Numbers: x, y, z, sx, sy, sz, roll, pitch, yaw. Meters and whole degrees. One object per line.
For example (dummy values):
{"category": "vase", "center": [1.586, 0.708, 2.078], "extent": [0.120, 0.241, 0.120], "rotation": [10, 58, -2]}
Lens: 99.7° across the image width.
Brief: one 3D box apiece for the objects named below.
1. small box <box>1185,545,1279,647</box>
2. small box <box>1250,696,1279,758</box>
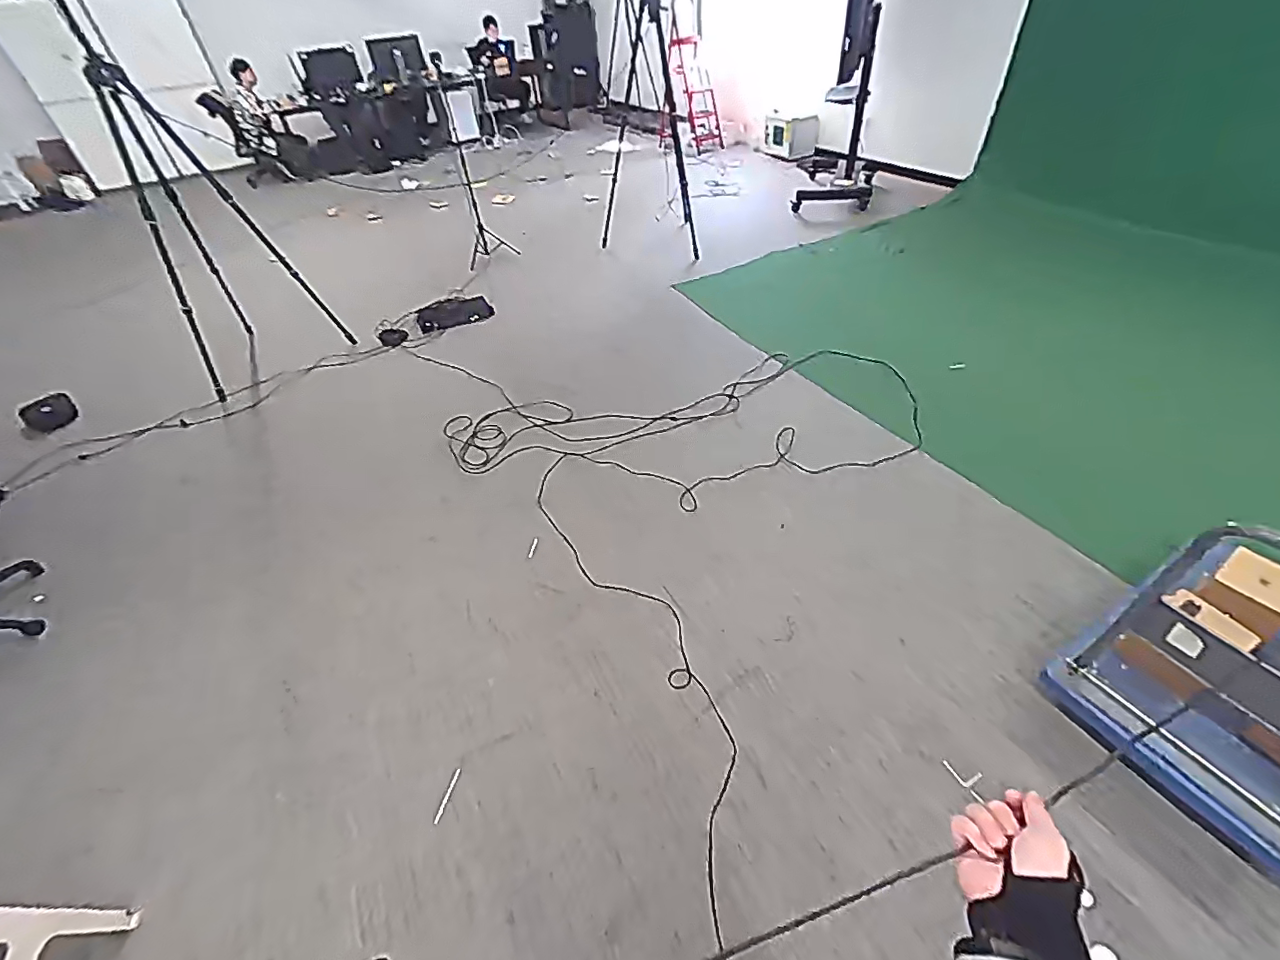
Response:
{"category": "small box", "center": [1.646, 0.317, 1.462], "extent": [0.179, 0.176, 0.168], "rotation": [-29, 48, -21]}
{"category": "small box", "center": [1.561, 0.561, 1.218], "extent": [0.179, 0.176, 0.168], "rotation": [-26, 46, -18]}
